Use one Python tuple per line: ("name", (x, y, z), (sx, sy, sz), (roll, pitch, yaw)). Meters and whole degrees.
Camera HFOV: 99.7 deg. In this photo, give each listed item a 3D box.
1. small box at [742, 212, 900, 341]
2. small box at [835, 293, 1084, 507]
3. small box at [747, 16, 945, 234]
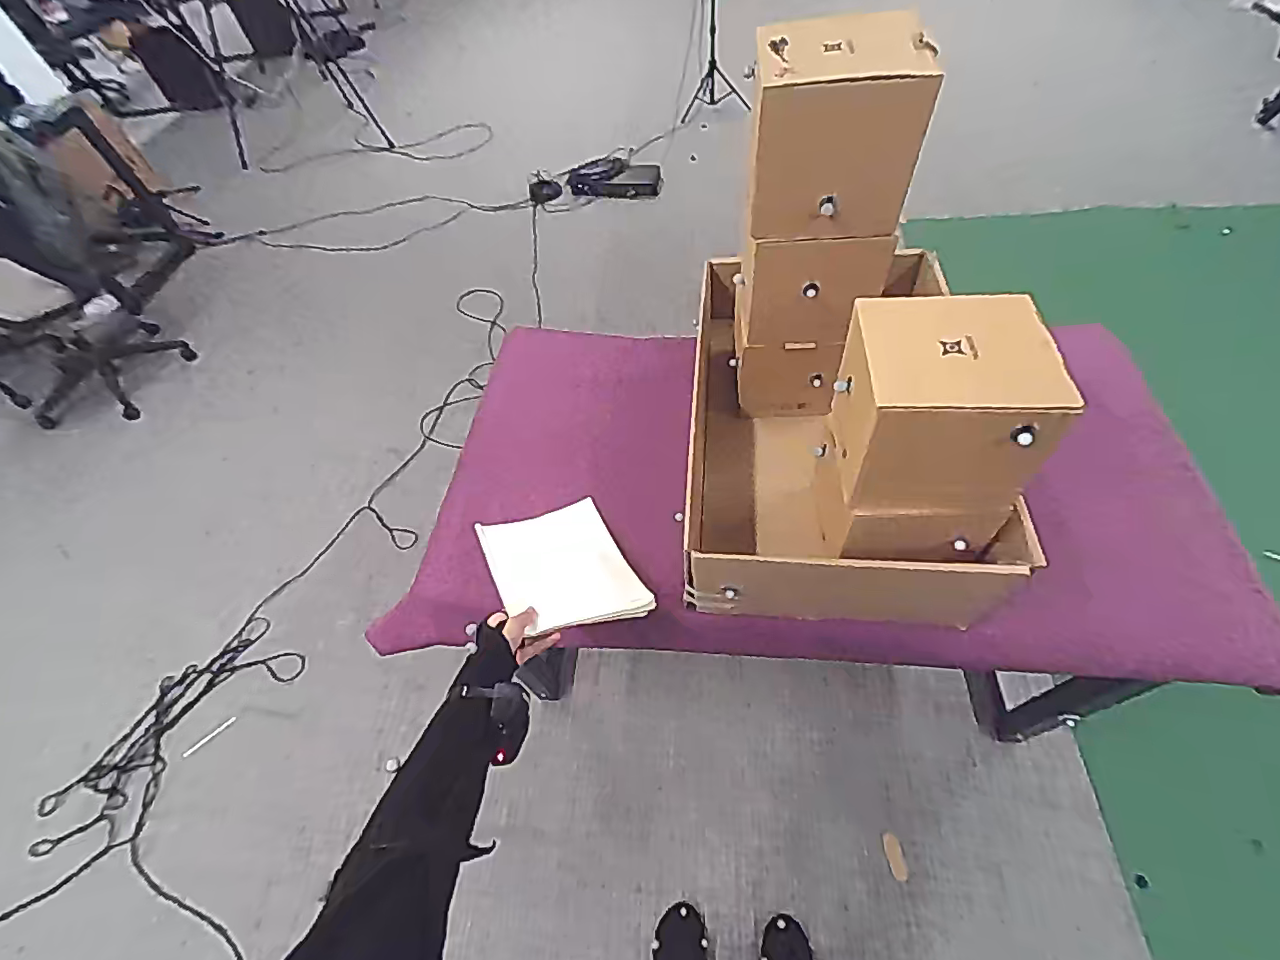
("small box", (0.242, -0.316, 0.774), (0.179, 0.176, 0.168), (-1, 56, 7))
("small box", (0.319, -0.083, 0.592), (0.179, 0.176, 0.168), (2, 53, 8))
("small box", (0.224, -0.412, 0.641), (0.179, 0.176, 0.168), (2, 56, 7))
